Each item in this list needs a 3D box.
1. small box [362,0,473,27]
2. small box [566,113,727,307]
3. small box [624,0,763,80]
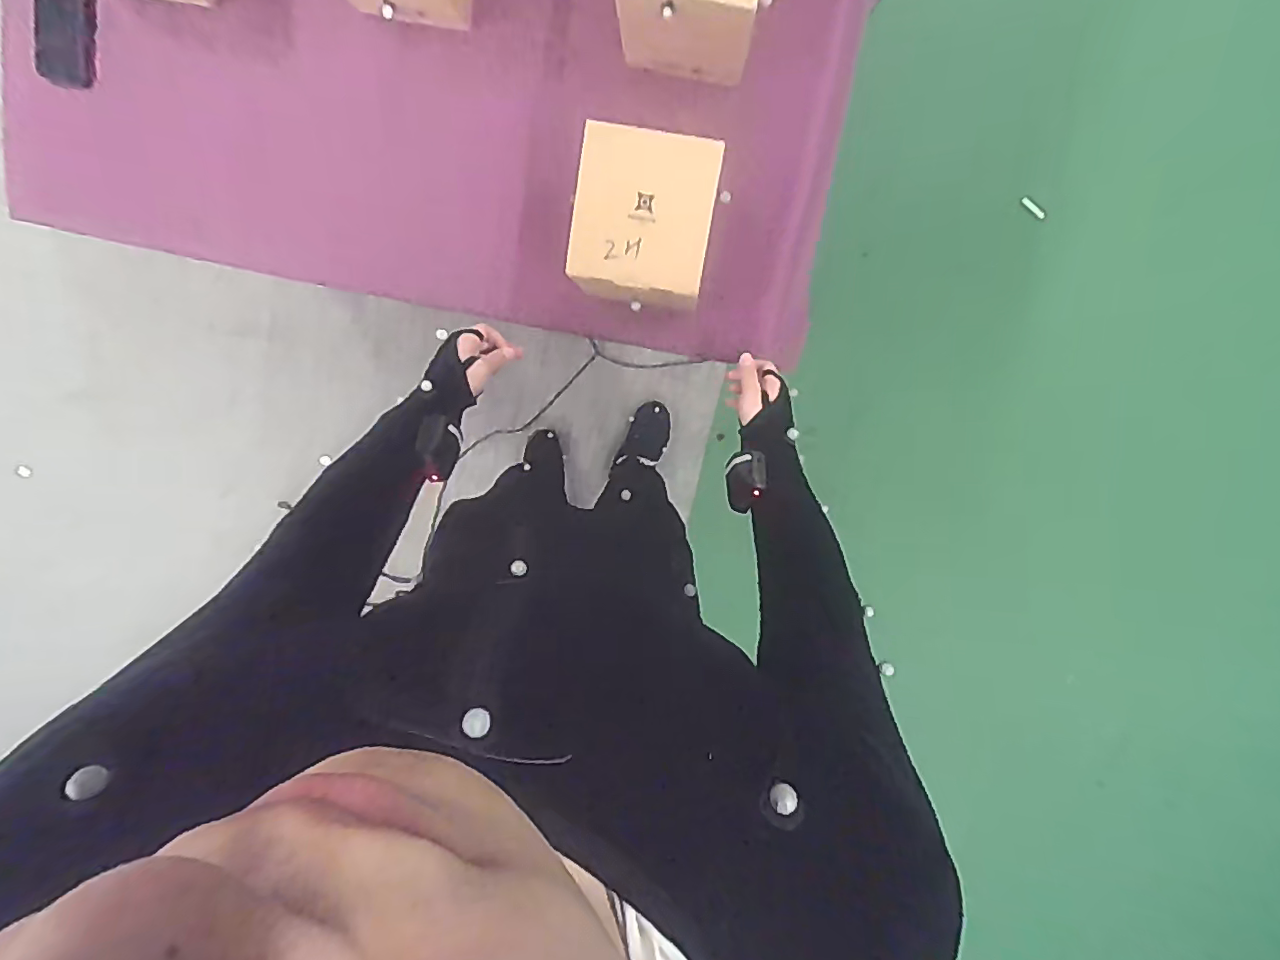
[{"bbox_3d":[-0.306,-0.716,0.663,0.168,0.176,0.179,11,103,2],"label":"small box"},{"bbox_3d":[0.011,-0.340,0.713,0.168,0.176,0.179,11,102,3],"label":"small box"},{"bbox_3d":[0.074,-0.636,0.653,0.168,0.176,0.179,13,102,2],"label":"small box"}]
